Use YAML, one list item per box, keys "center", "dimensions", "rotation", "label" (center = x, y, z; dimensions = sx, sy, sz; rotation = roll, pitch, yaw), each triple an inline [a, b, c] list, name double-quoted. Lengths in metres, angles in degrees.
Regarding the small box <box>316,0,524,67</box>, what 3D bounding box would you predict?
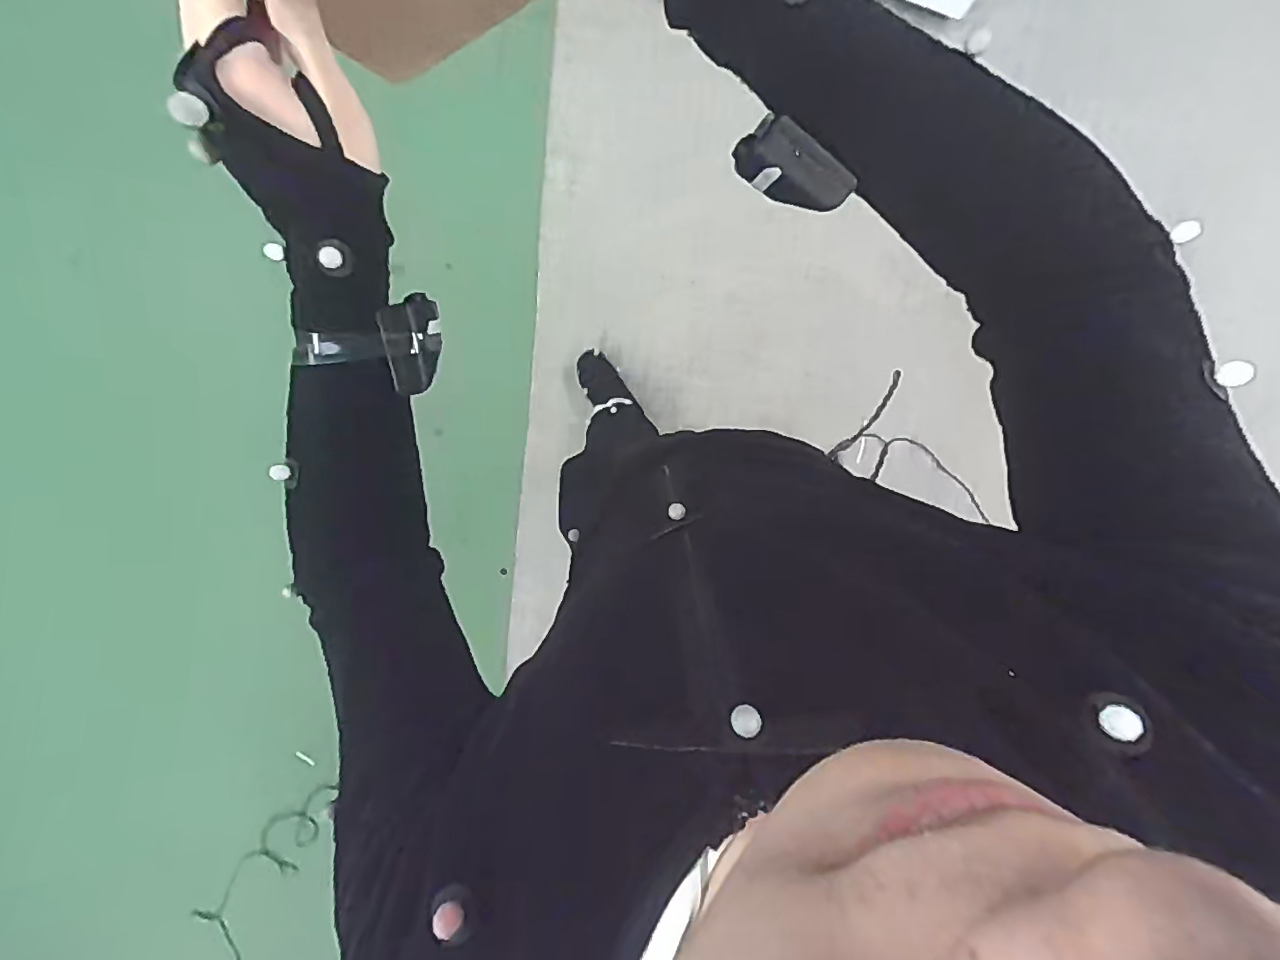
- center: [-0.137, -0.367, 0.284]
  dimensions: [0.179, 0.176, 0.168]
  rotation: [-23, 110, 11]
  label: "small box"
